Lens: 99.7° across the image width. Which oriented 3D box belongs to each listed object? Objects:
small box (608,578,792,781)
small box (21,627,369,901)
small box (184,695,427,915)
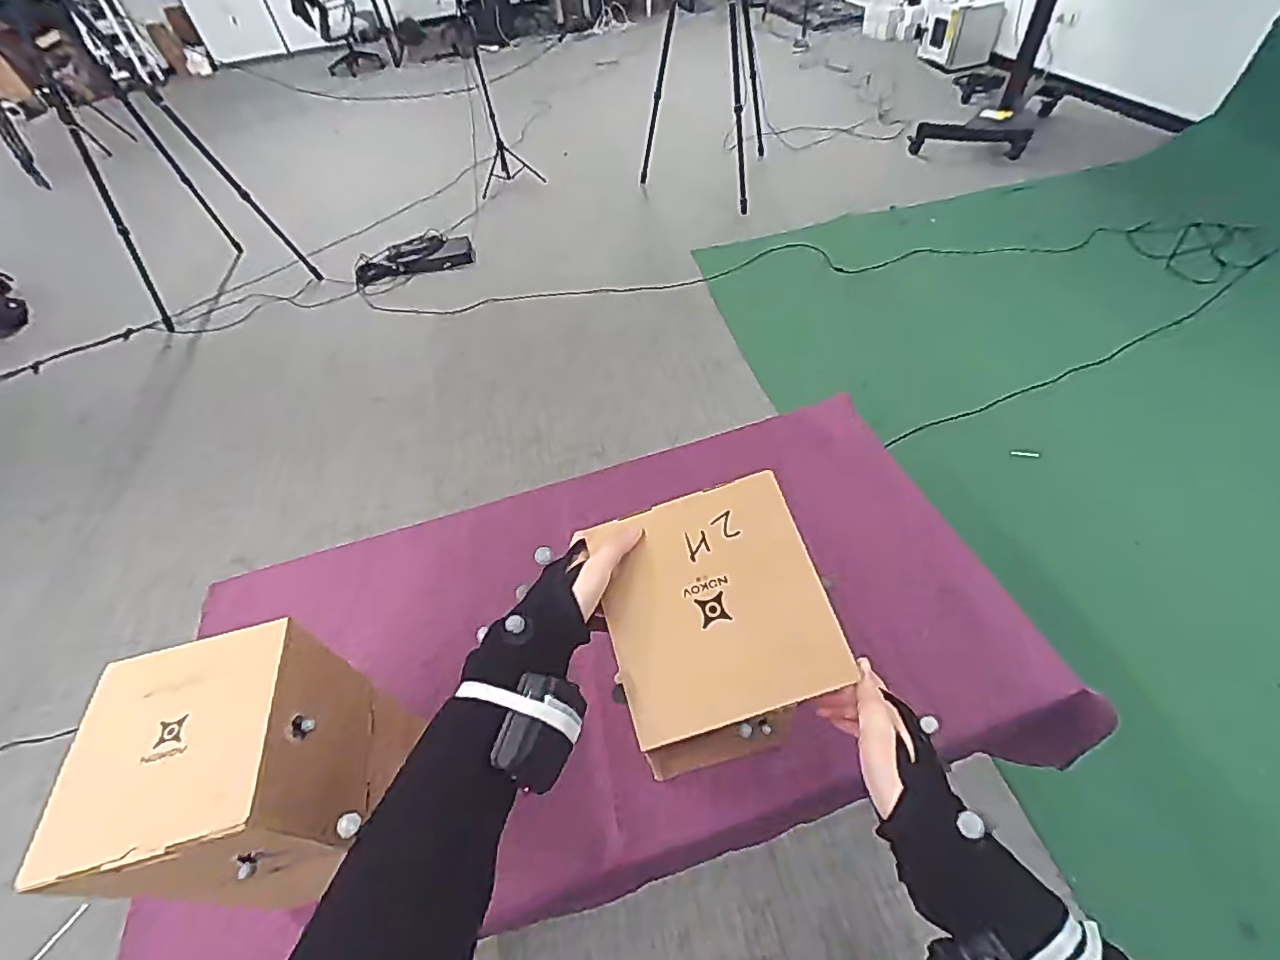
[{"bbox_3d":[0.071,0.253,0.676,0.179,0.176,0.168,-14,50,-4],"label":"small box"},{"bbox_3d":[-0.380,0.271,0.510,0.168,0.176,0.179,-14,49,-4],"label":"small box"},{"bbox_3d":[-0.362,0.380,0.631,0.179,0.176,0.168,-15,49,-6],"label":"small box"}]
